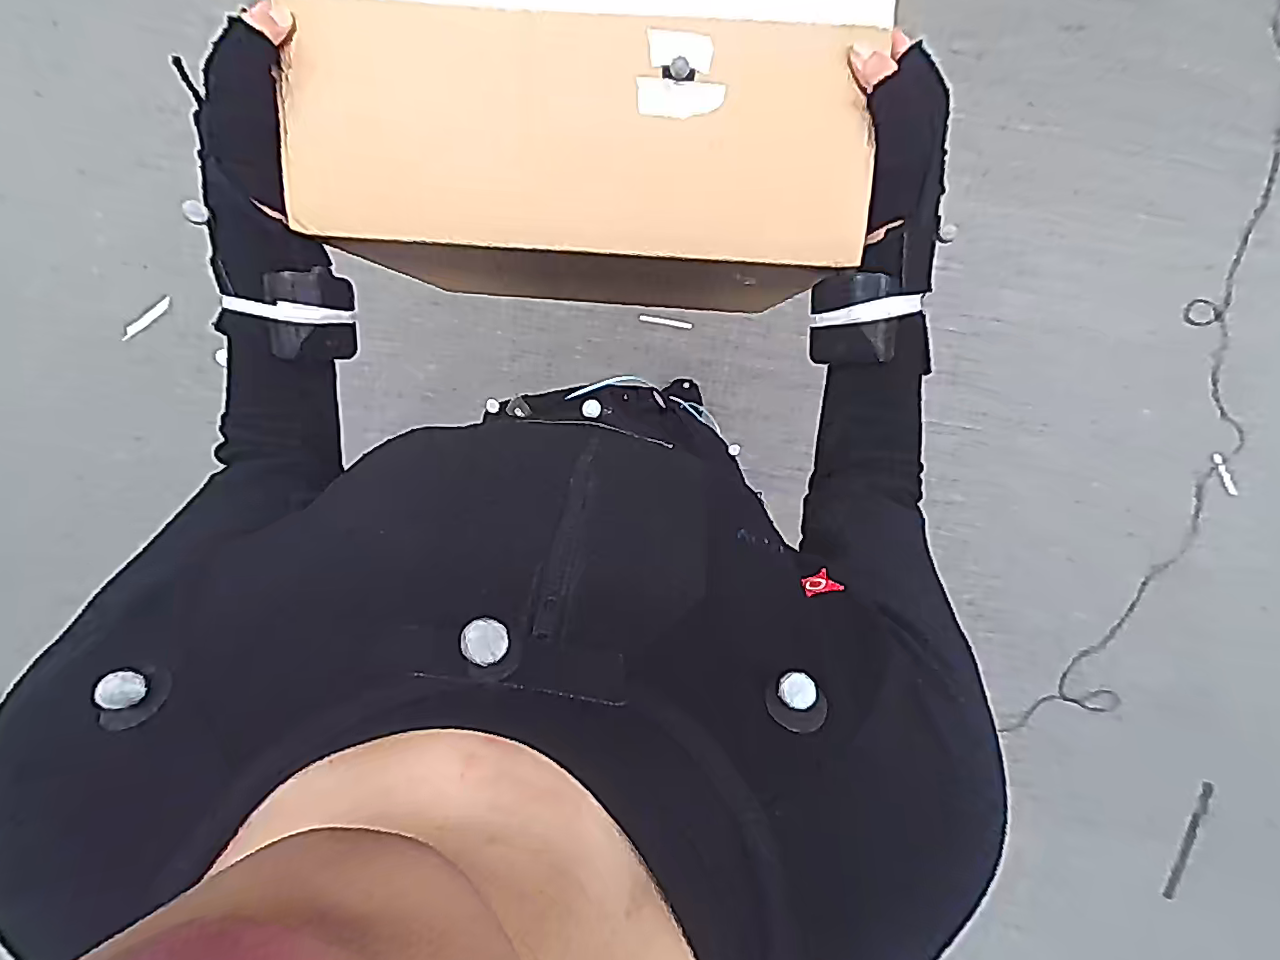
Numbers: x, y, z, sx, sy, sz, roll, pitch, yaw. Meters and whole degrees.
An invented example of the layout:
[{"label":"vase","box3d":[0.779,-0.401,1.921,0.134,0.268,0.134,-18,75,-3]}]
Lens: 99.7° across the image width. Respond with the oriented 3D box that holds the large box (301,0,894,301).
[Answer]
[{"label":"large box","box3d":[-0.030,-0.354,0.507,0.408,0.320,0.320,4,103,-1]}]
